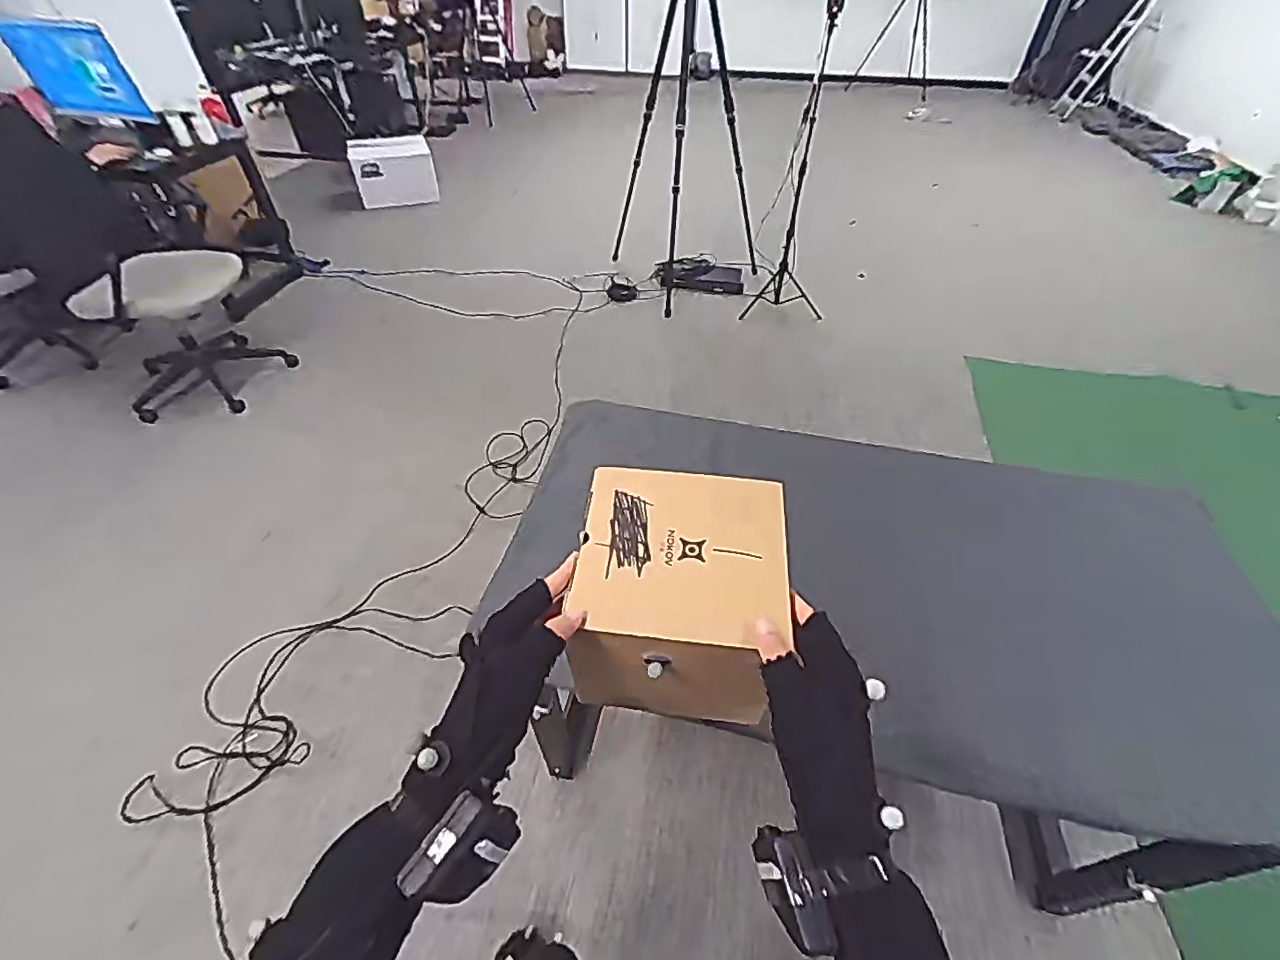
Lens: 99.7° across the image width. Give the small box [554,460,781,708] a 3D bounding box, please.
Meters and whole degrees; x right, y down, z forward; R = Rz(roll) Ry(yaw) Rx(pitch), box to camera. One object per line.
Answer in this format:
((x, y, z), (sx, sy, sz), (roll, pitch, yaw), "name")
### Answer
((0.029, 0.103, 0.517), (0.179, 0.176, 0.168), (6, 50, 4), "small box")
